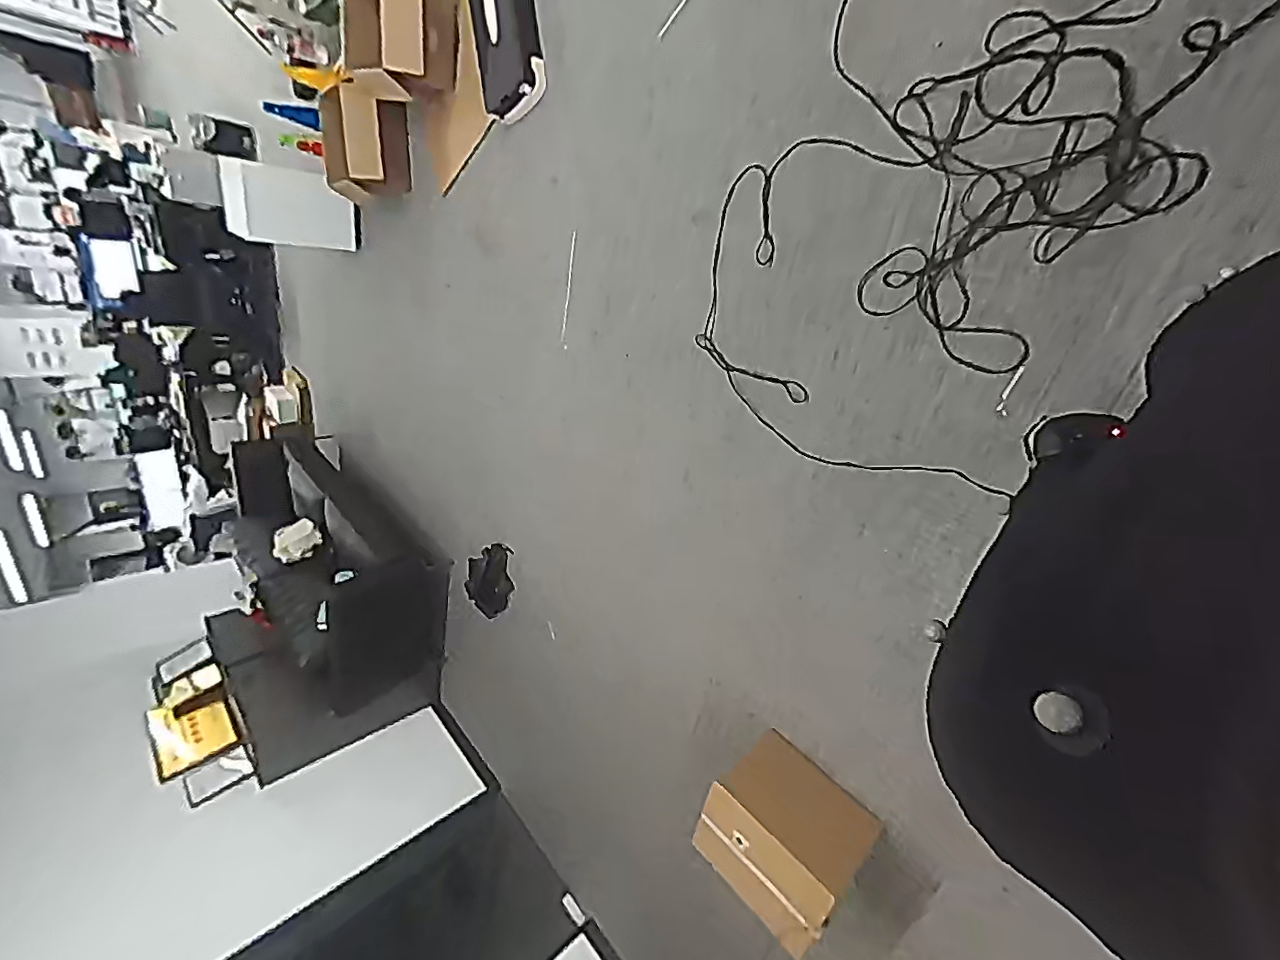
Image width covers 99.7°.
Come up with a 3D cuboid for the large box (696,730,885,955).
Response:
[{"bbox_3d":[0.443,1.061,1.631,0.408,0.320,0.320,33,122,37],"label":"large box"}]
